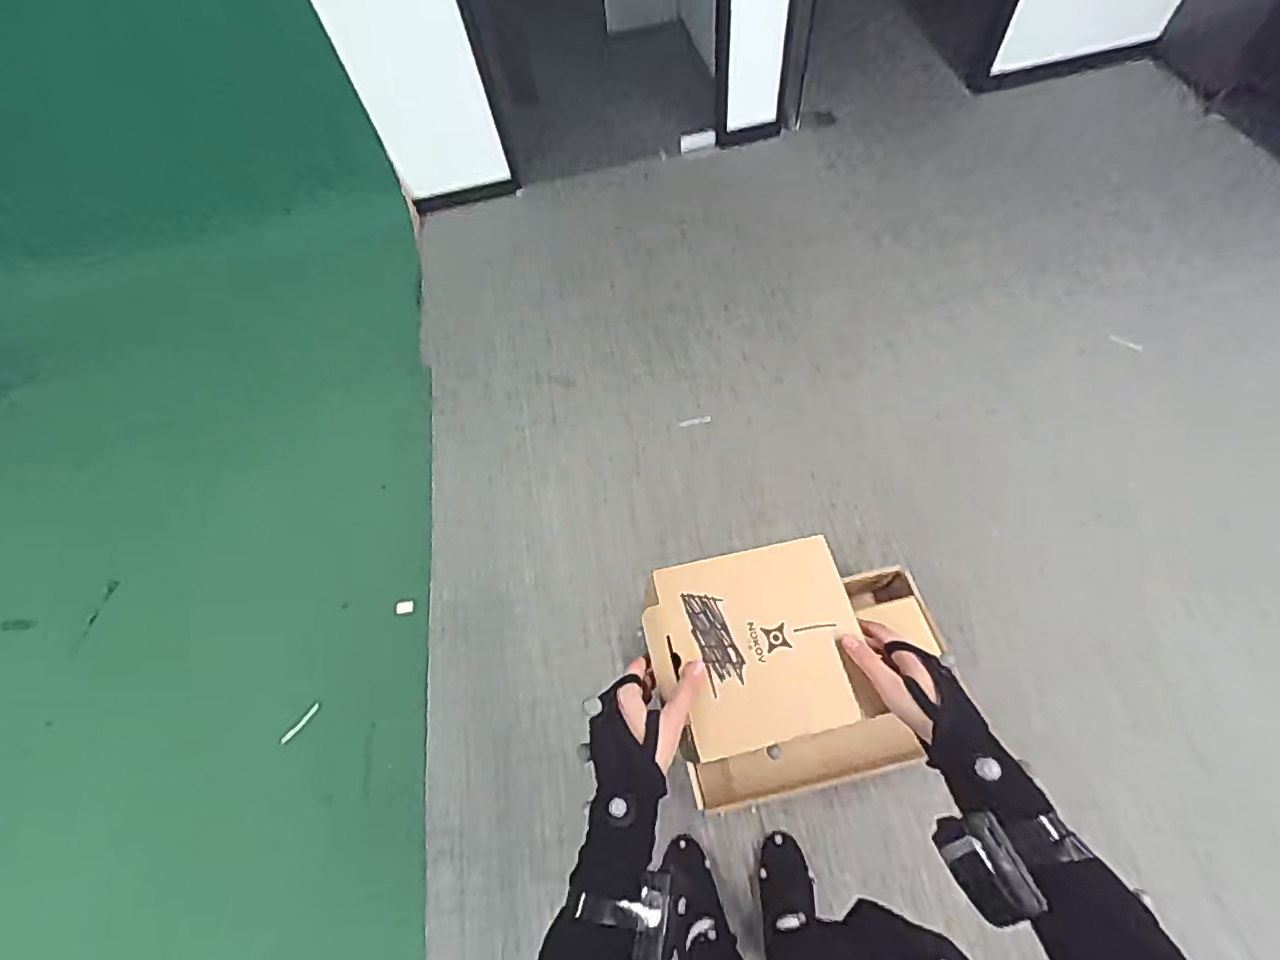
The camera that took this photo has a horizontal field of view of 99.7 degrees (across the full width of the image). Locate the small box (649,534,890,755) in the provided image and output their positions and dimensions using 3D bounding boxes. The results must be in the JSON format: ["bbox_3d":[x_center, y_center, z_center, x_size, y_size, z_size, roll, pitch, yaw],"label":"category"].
[{"bbox_3d":[0.108,0.174,0.549,0.179,0.176,0.168,-10,65,-8],"label":"small box"}]
